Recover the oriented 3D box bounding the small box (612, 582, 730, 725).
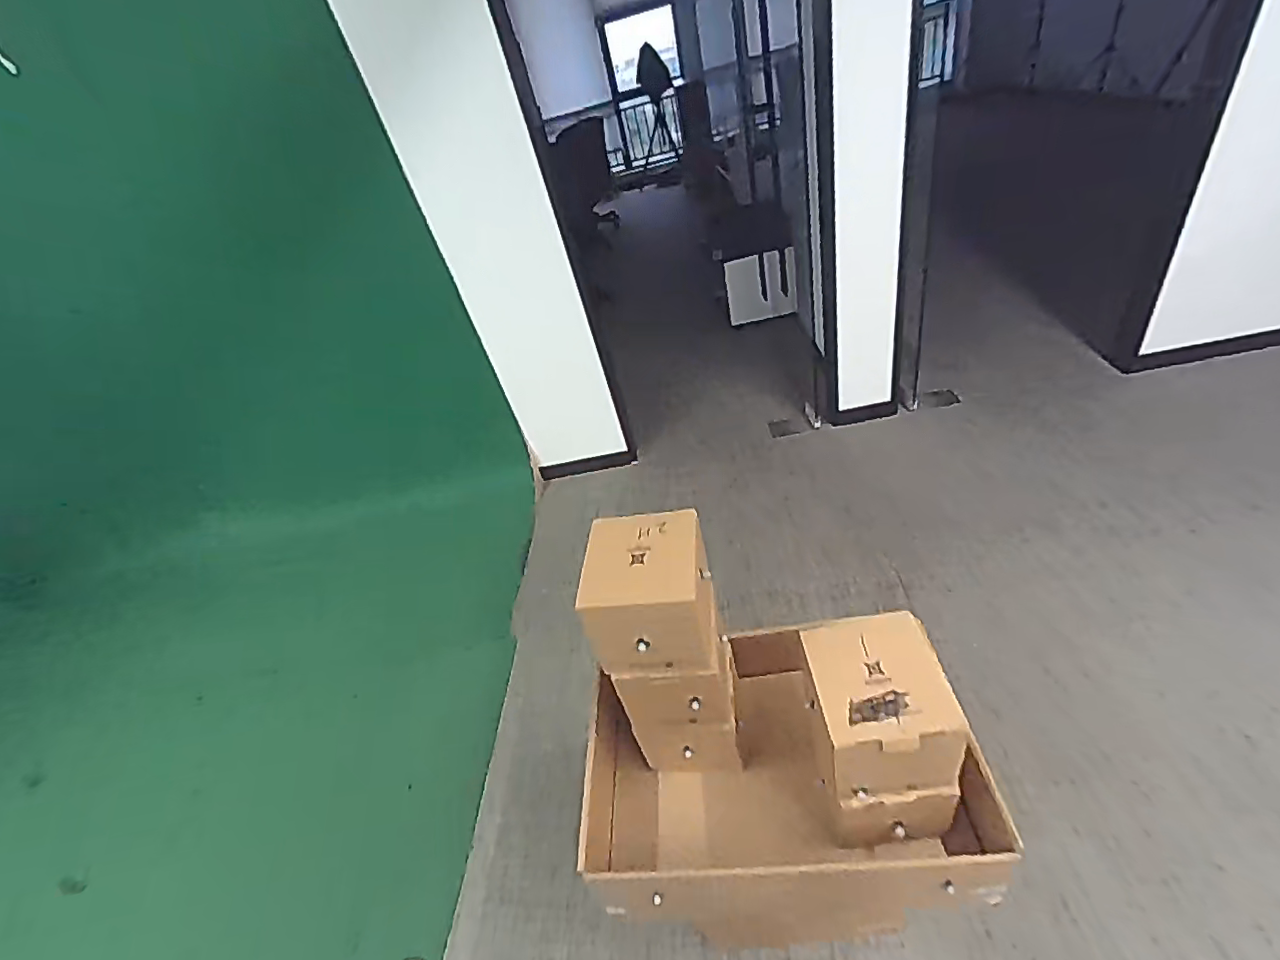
[{"bbox_3d":[0.058,0.300,0.919,0.168,0.176,0.179,-7,38,10],"label":"small box"}]

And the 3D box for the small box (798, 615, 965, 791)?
[{"bbox_3d":[0.335,0.325,0.777,0.168,0.176,0.179,-11,38,7],"label":"small box"}]

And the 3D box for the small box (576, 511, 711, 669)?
[{"bbox_3d":[0.017,0.172,0.824,0.168,0.176,0.179,-5,39,11],"label":"small box"}]
